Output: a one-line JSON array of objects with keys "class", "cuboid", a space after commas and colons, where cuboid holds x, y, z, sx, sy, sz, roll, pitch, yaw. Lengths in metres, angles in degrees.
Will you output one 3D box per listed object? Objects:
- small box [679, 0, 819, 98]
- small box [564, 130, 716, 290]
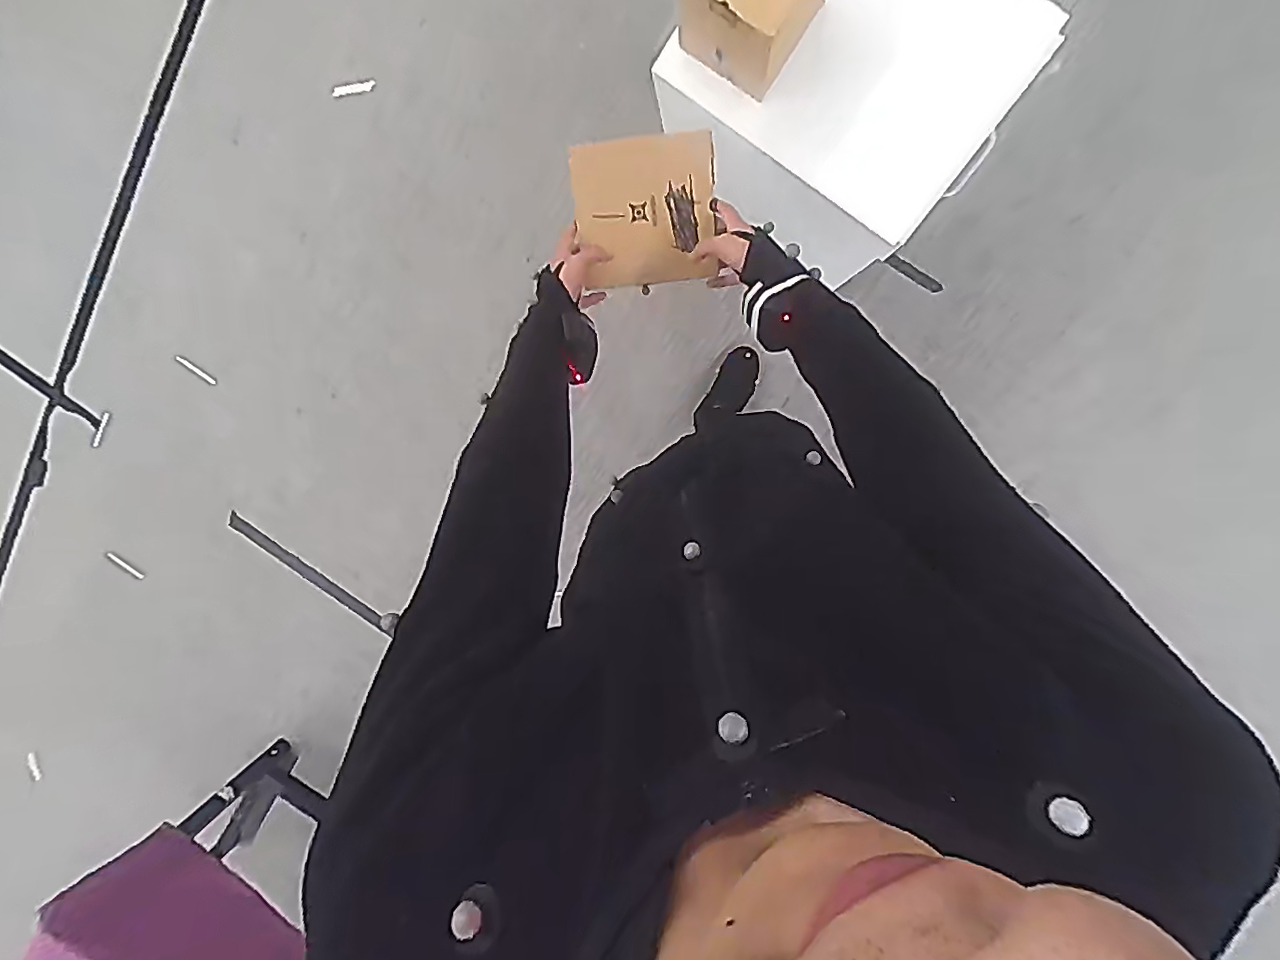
[{"class": "small box", "cuboid": [0.164, -0.716, 0.783, 0.168, 0.176, 0.179, 35, 104, 0]}, {"class": "small box", "cuboid": [0.003, -0.355, 0.734, 0.179, 0.176, 0.168, -5, 110, 3]}]
